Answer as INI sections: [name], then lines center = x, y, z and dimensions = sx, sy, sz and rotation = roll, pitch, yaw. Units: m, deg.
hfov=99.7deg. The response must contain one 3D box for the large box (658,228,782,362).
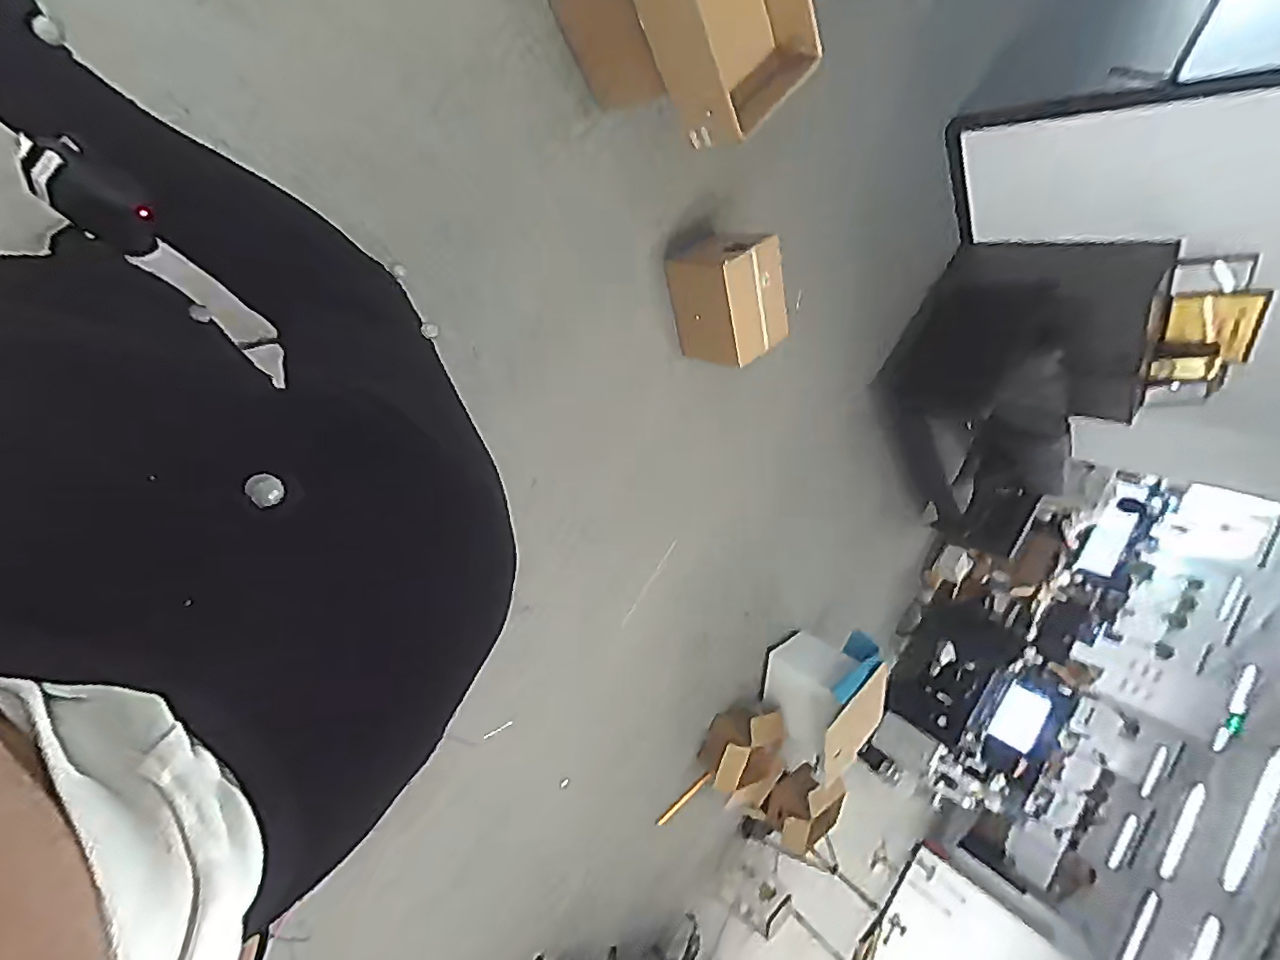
[large box]
center = 0.320, -0.730, 2.128
dimensions = 0.320, 0.320, 0.408
rotation = -39, 130, -25

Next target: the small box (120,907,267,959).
[small box]
center = -0.737, 0.826, 0.865
dimensions = 0.179, 0.176, 0.168
rotation = -53, 135, -9
